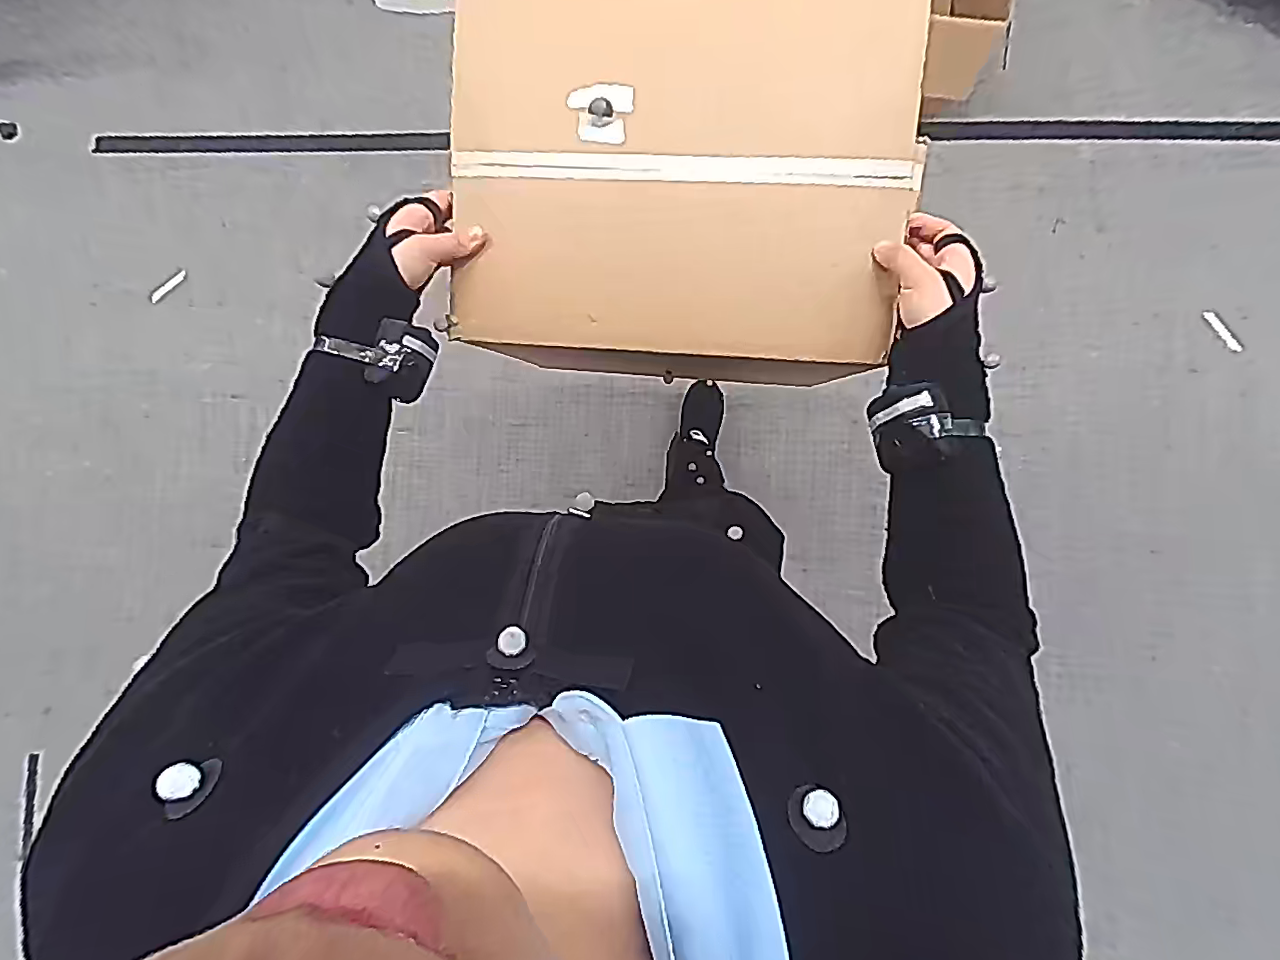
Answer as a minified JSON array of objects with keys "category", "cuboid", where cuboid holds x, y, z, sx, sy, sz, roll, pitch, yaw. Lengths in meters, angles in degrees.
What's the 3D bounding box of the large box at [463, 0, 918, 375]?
[{"category":"large box","cuboid":[0.050,-0.295,0.636,0.408,0.320,0.320,4,96,6]}]
